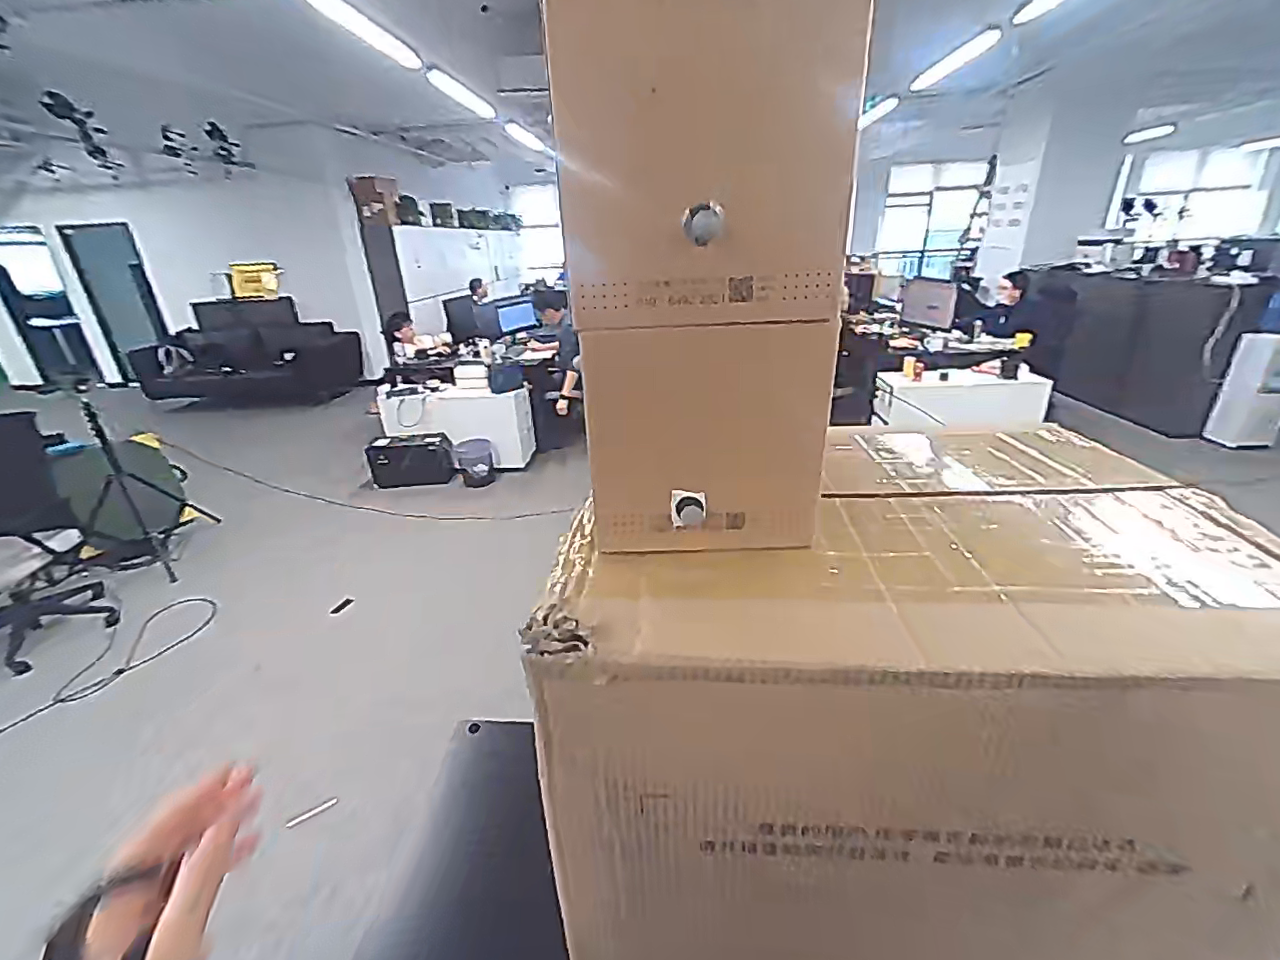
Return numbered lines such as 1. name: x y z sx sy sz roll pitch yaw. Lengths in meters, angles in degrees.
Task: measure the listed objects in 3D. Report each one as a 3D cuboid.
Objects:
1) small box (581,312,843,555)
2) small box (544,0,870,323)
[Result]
1. small box: 0.046 -0.055 0.442 0.168 0.176 0.179 -3 26 0
2. small box: 0.037 -0.205 0.372 0.168 0.176 0.179 -2 25 2
